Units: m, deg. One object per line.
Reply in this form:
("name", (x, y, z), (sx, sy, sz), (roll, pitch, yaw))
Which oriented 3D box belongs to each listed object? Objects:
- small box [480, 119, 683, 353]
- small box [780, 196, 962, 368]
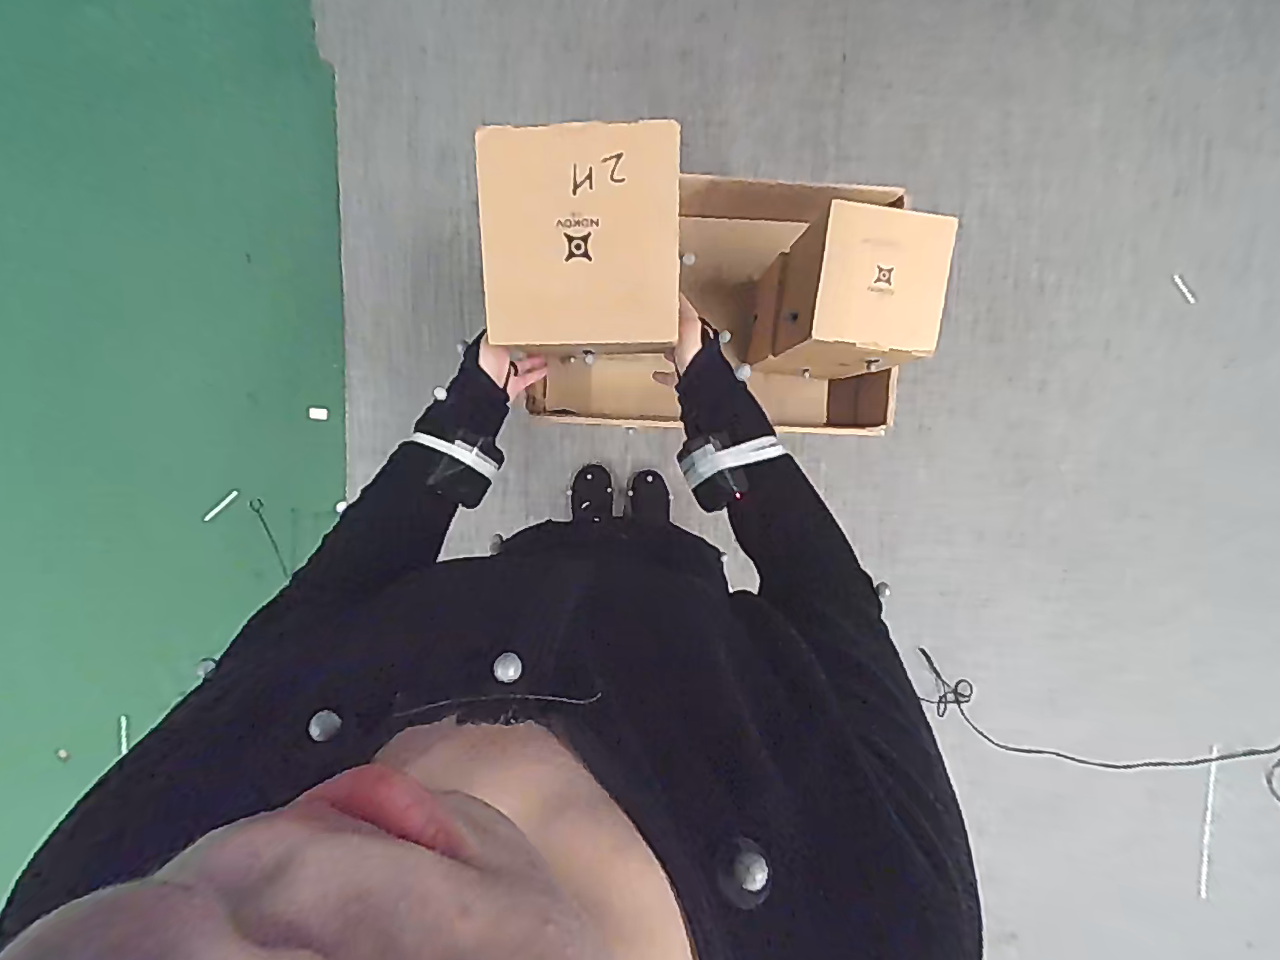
("small box", (-0.045, -0.216, 0.524), (0.168, 0.176, 0.179), (1, 100, 2))
("small box", (0.306, -0.260, 0.755), (0.168, 0.176, 0.179), (9, 94, -3))
